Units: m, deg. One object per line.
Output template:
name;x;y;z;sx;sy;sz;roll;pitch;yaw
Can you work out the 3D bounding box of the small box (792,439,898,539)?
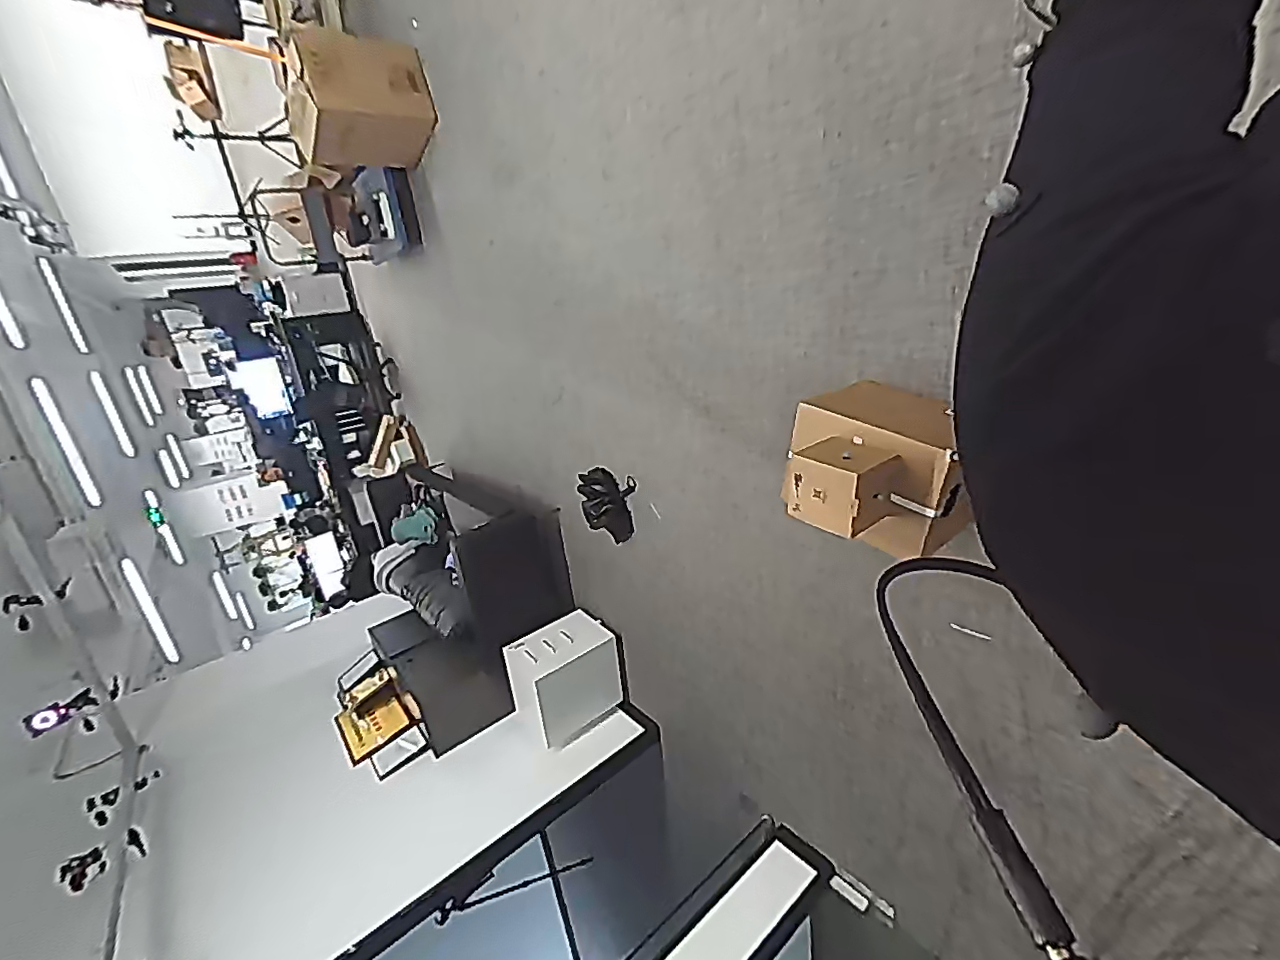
small box;0.491;0.012;1.296;0.179;0.176;0.168;24;126;46
